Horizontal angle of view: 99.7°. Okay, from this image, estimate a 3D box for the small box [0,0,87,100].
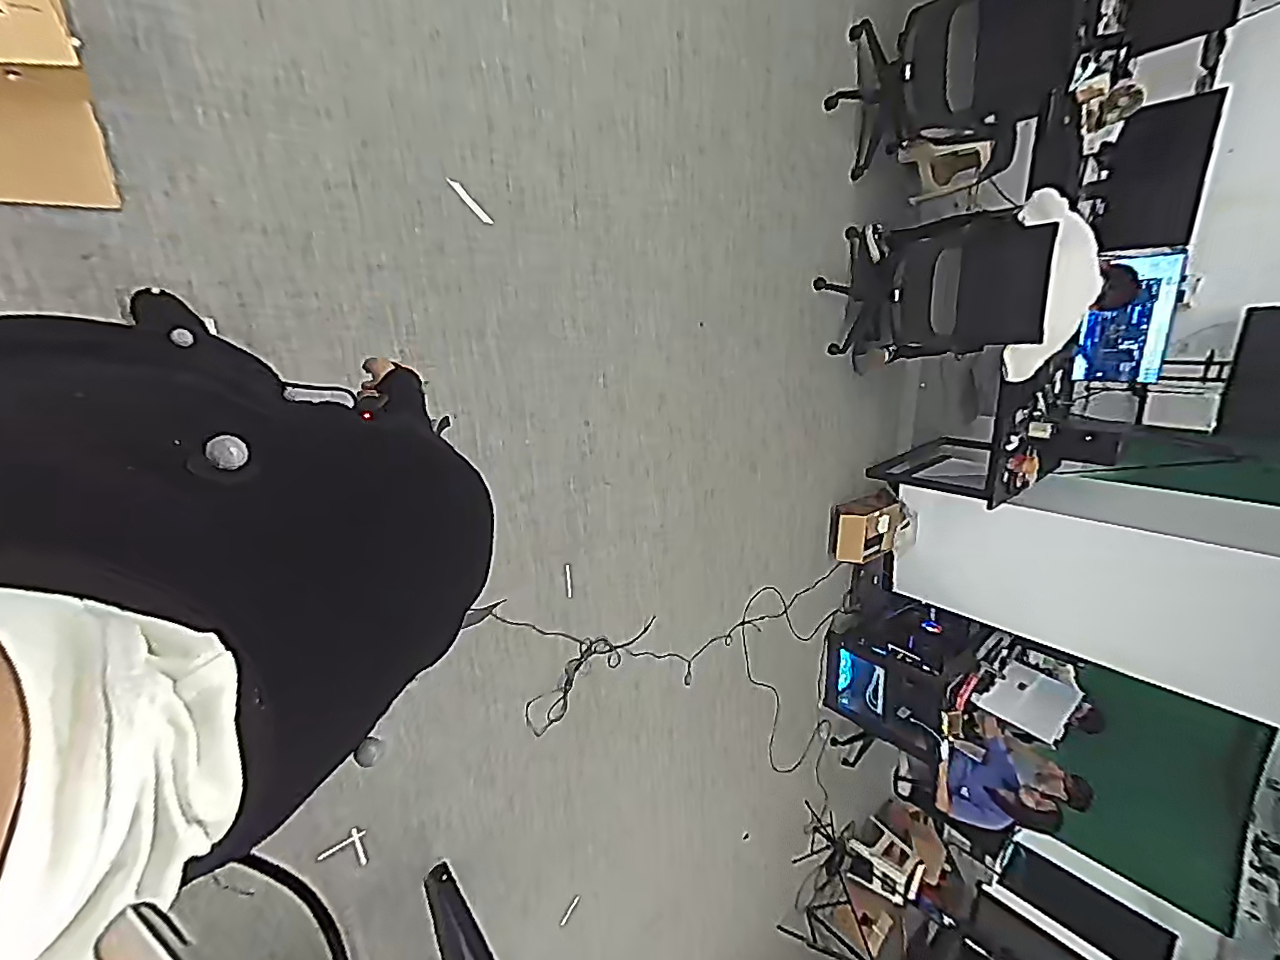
[{"bbox_3d":[-1.116,-0.780,0.932,0.179,0.176,0.168,-26,117,-33],"label":"small box"}]
